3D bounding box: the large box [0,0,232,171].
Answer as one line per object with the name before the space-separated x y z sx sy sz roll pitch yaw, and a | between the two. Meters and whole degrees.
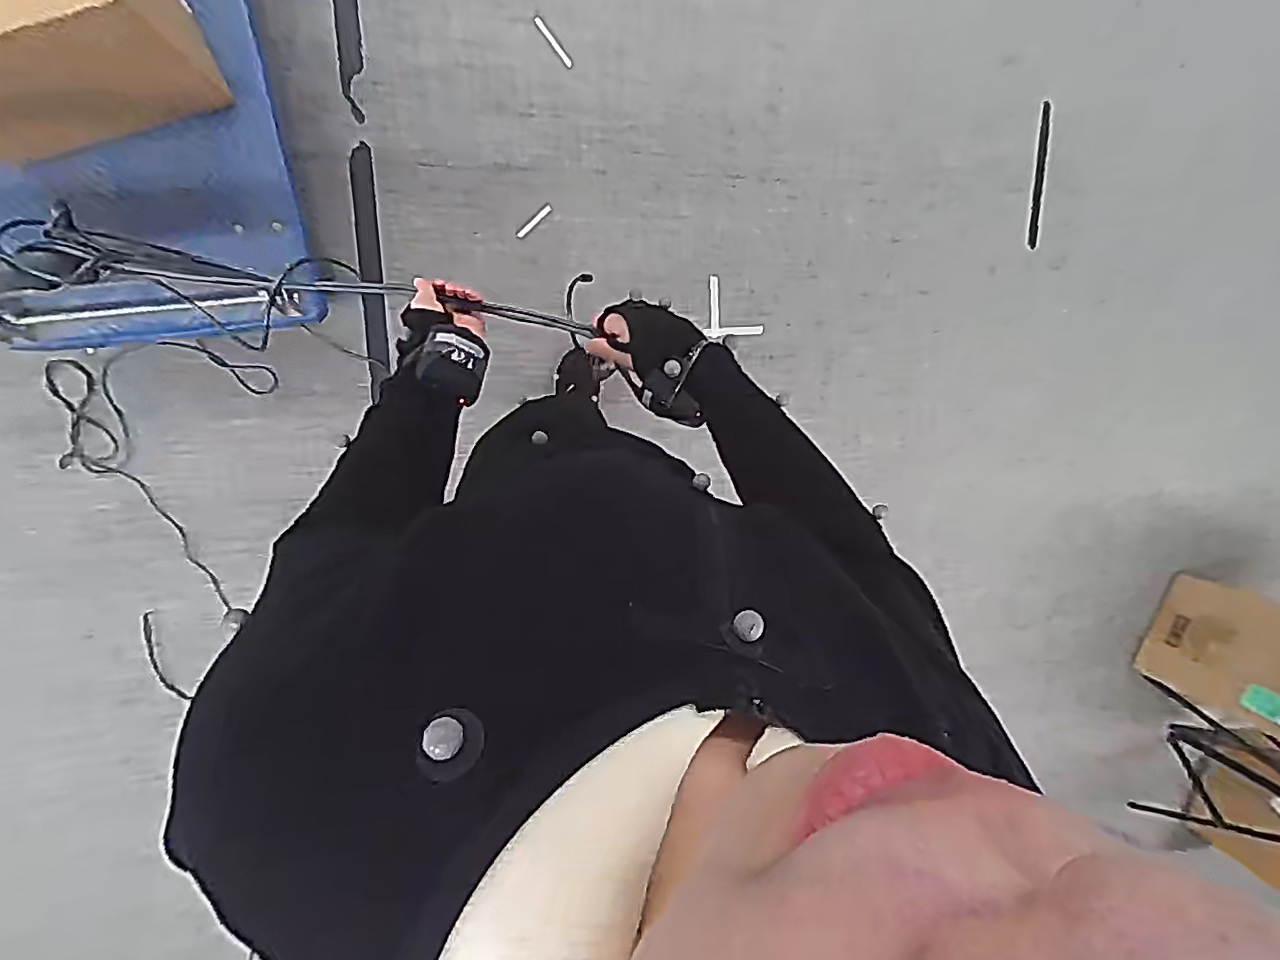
large box | -0.971 -0.742 0.823 0.408 0.320 0.320 -23 106 -7
